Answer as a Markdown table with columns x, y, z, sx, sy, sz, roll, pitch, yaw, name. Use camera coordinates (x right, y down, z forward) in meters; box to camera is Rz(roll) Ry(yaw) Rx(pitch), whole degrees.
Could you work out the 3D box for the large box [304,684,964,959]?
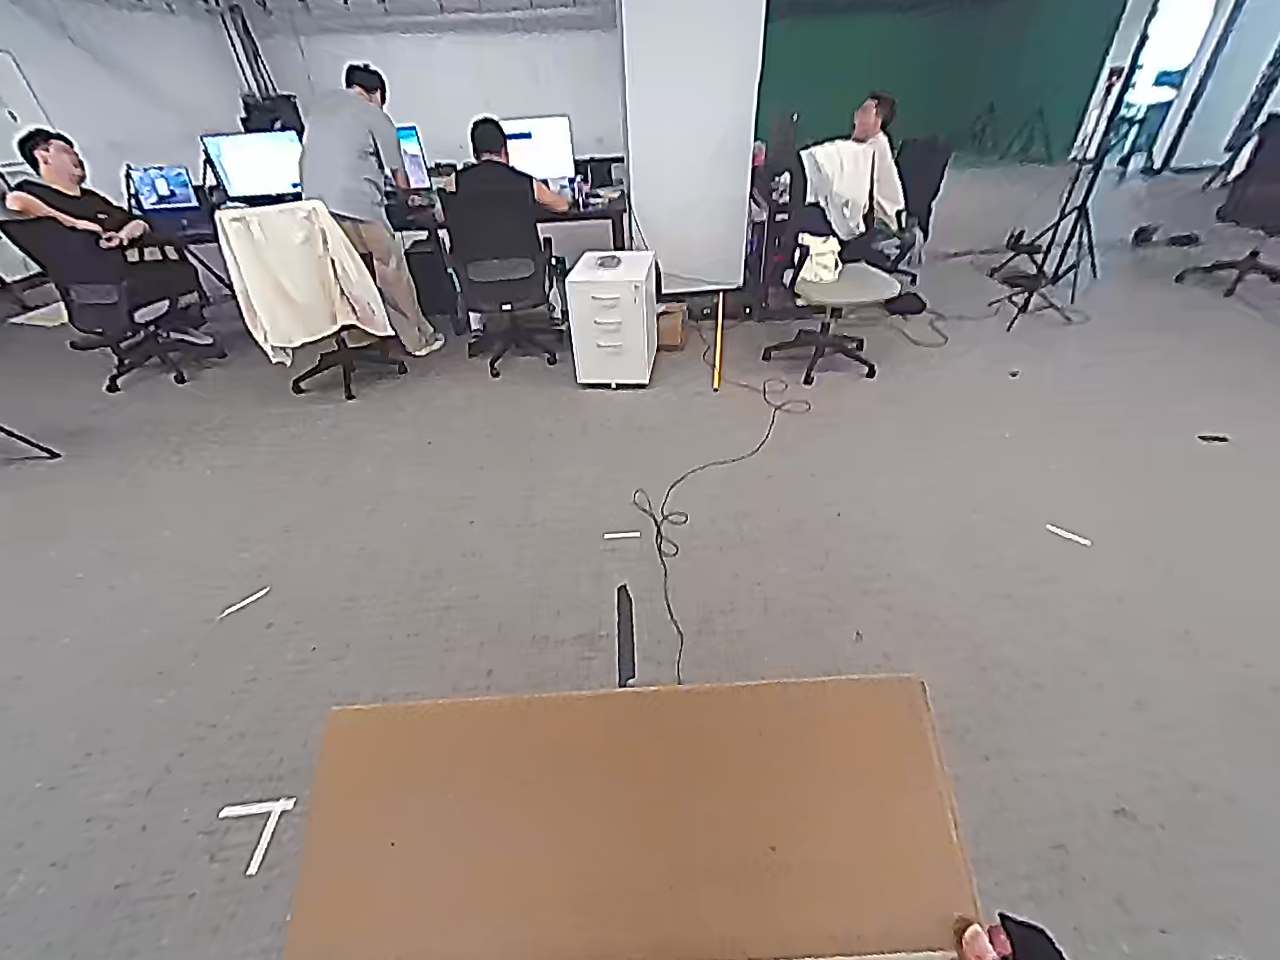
| x | y | z | sx | sy | sz | roll | pitch | yaw | name |
| --- | --- | --- | --- | --- | --- | --- | --- | --- | --- |
| 0.002 | 0.356 | 0.455 | 0.408 | 0.320 | 0.320 | -4 | 66 | 1 | large box |
